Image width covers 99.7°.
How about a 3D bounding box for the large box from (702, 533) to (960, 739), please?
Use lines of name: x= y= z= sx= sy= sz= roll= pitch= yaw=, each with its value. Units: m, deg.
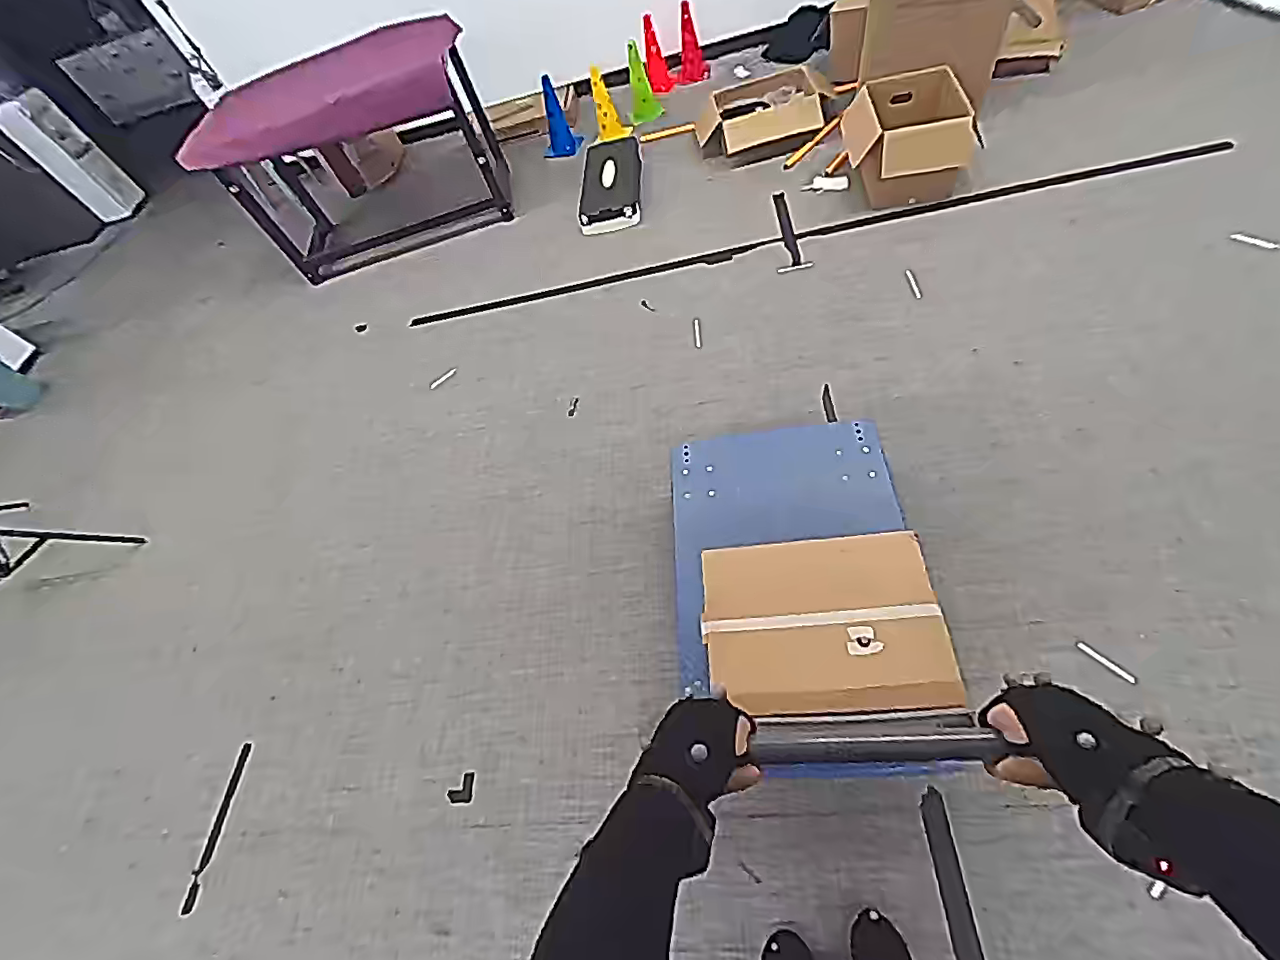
large box: x=0.352 y=0.333 z=1.106 sx=0.408 sy=0.320 sz=0.320 roll=-7 pitch=58 yaw=9
